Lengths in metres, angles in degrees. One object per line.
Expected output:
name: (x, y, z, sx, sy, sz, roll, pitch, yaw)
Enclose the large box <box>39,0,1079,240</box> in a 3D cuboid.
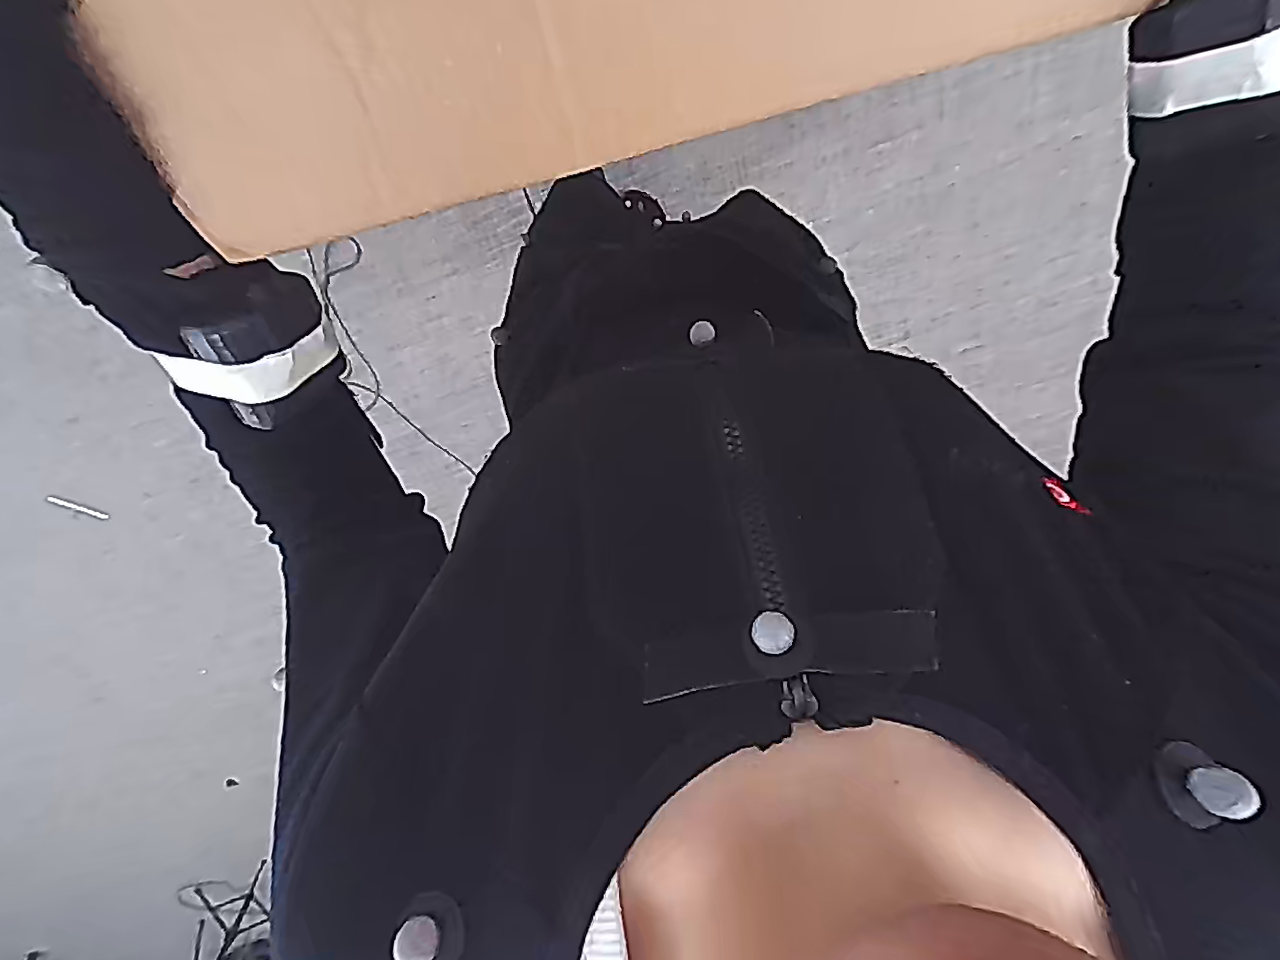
large box: (-0.042, -0.362, 0.212, 0.408, 0.320, 0.320, -13, 140, 4)
